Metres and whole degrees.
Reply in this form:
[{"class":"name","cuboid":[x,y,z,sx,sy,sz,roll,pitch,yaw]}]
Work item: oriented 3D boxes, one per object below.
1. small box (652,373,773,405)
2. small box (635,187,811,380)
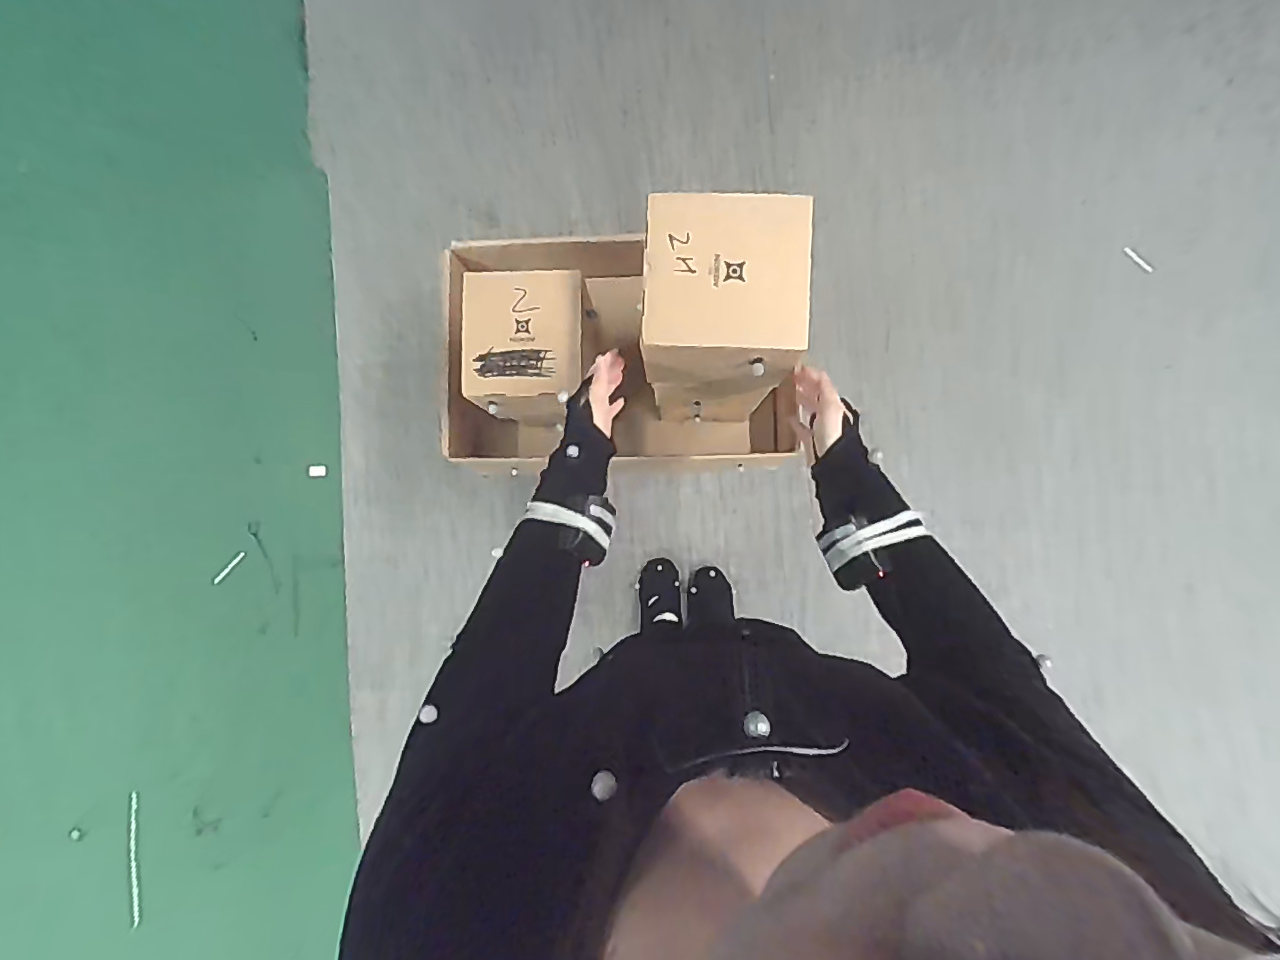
[{"class":"small box","cuboid":[0.103,-0.215,0.807,0.168,0.176,0.179,1,88,4]},{"class":"small box","cuboid":[0.092,-0.219,0.642,0.179,0.176,0.168,3,87,5]}]
